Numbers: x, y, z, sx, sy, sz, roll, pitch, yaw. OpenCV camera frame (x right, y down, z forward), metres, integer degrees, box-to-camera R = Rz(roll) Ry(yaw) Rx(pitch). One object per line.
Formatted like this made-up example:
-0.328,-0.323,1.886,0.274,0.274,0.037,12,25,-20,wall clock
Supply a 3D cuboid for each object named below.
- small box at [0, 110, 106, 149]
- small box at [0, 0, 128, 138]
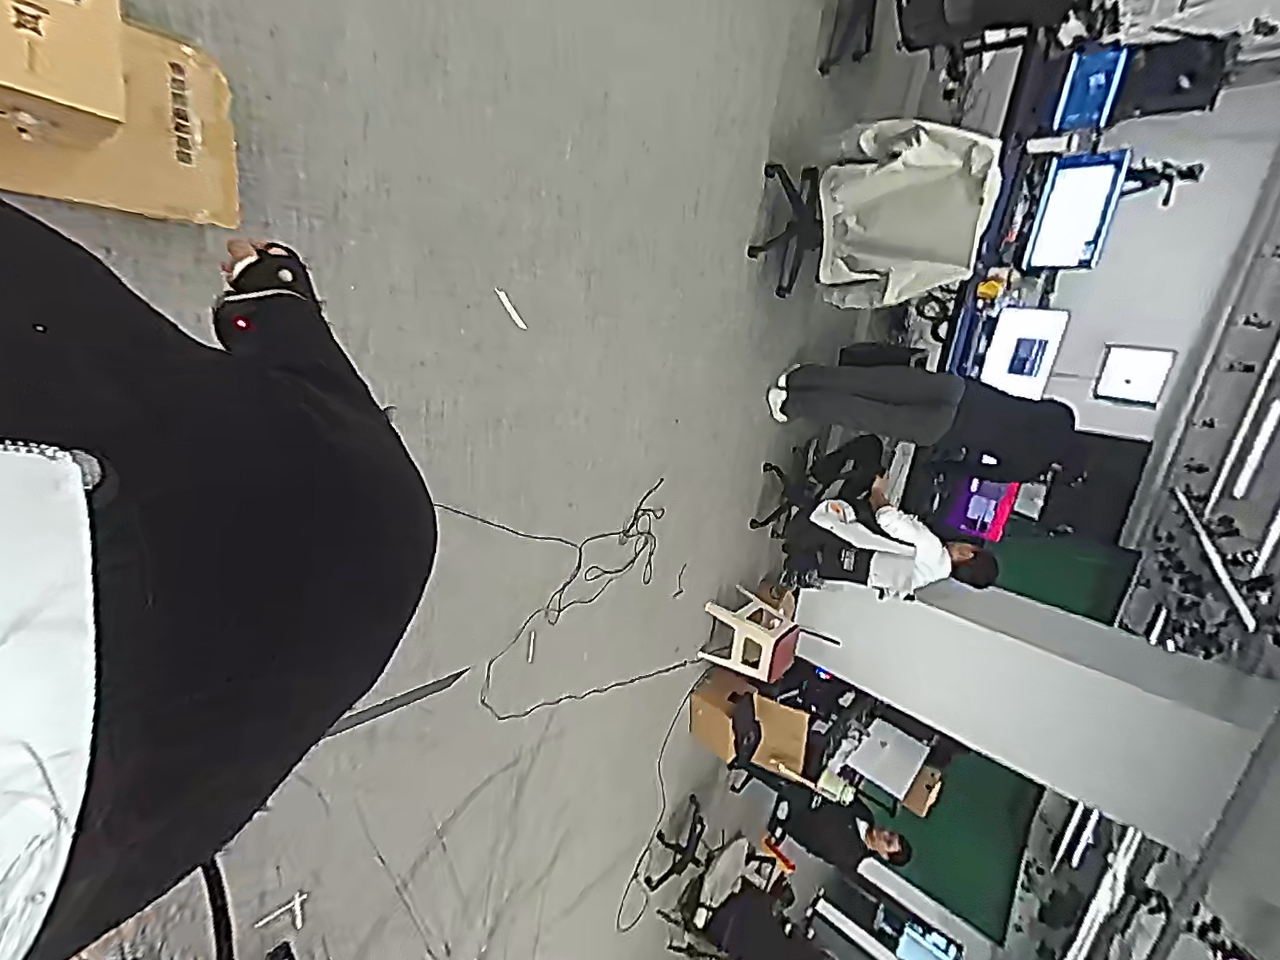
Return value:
-0.918,-0.616,0.794,0.168,0.176,0.179,-11,113,-47,small box
-0.790,-0.576,0.698,0.168,0.176,0.179,-6,110,-49,small box
